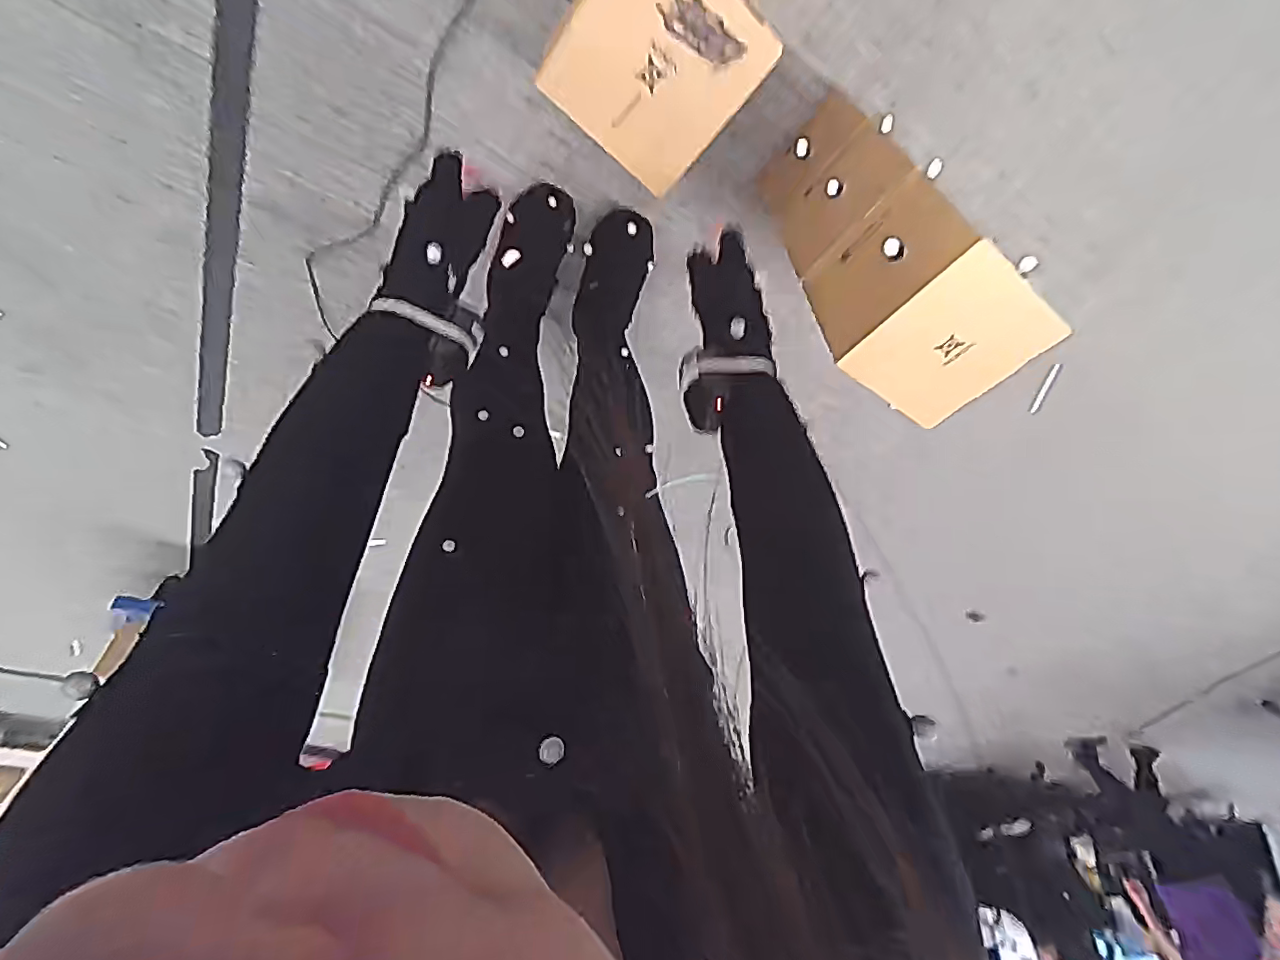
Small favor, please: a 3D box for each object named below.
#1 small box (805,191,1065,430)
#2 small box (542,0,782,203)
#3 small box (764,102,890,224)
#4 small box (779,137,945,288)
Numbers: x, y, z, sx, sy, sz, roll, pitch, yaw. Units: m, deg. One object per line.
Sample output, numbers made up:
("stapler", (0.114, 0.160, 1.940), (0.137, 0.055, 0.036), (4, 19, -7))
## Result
("small box", (0.318, -0.195, 0.617), (0.179, 0.176, 0.168), (23, 132, -27))
("small box", (0.016, -0.446, 0.567), (0.168, 0.176, 0.179), (29, 131, -31))
("small box", (0.315, -0.441, 0.834), (0.179, 0.176, 0.168), (24, 133, -27))
("small box", (0.311, -0.319, 0.723), (0.179, 0.176, 0.168), (25, 133, -29))
